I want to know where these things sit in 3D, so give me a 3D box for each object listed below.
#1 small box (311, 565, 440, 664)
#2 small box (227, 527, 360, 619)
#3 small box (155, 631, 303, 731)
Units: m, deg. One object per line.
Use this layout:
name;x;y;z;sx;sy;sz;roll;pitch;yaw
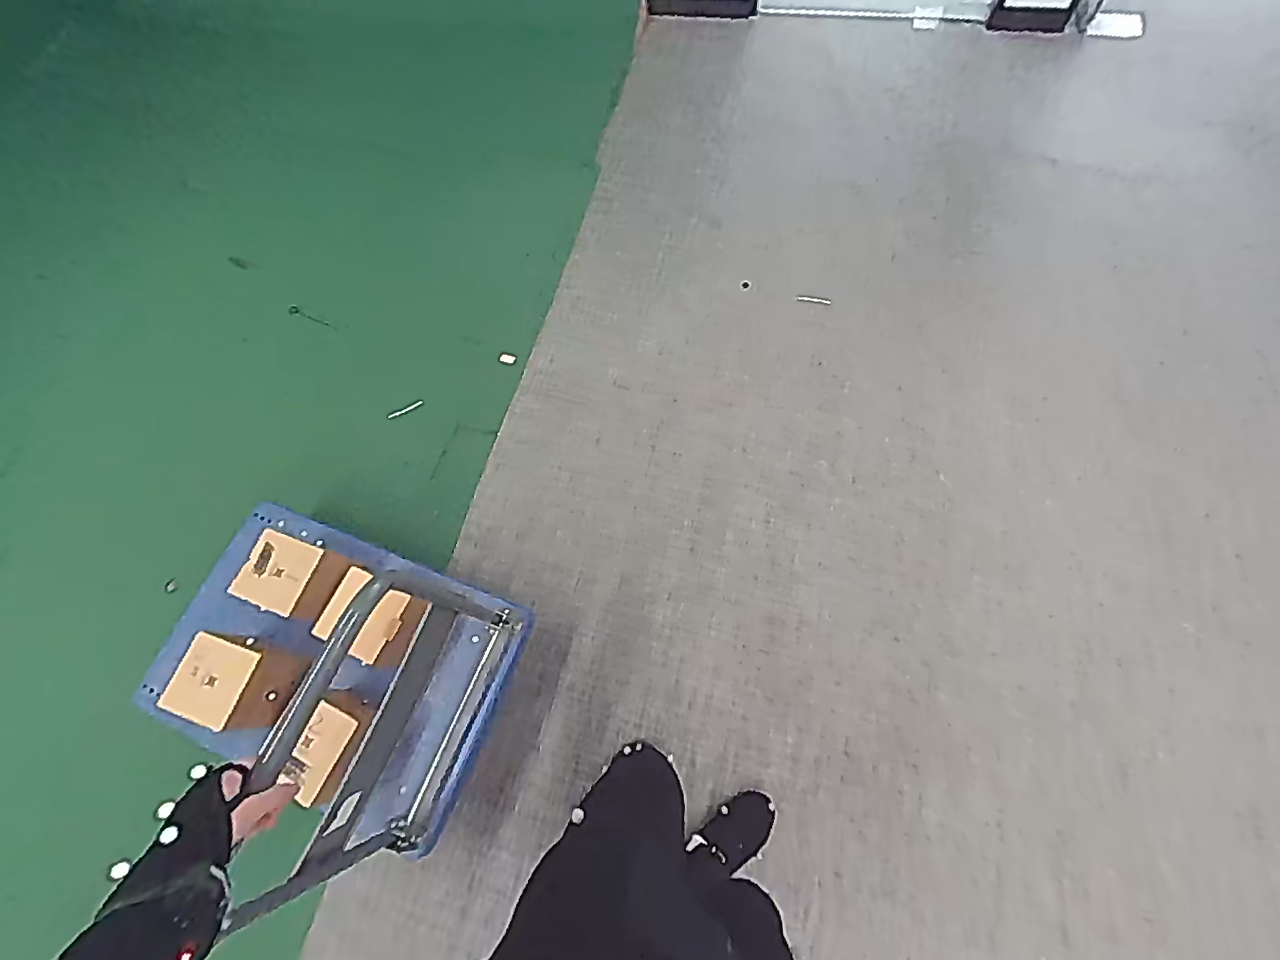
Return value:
small box;-0.610;0.322;1.268;0.179;0.176;0.168;21;73;12
small box;-0.836;0.235;1.322;0.179;0.176;0.168;18;73;11
small box;-0.930;0.460;1.245;0.179;0.176;0.168;16;71;11
